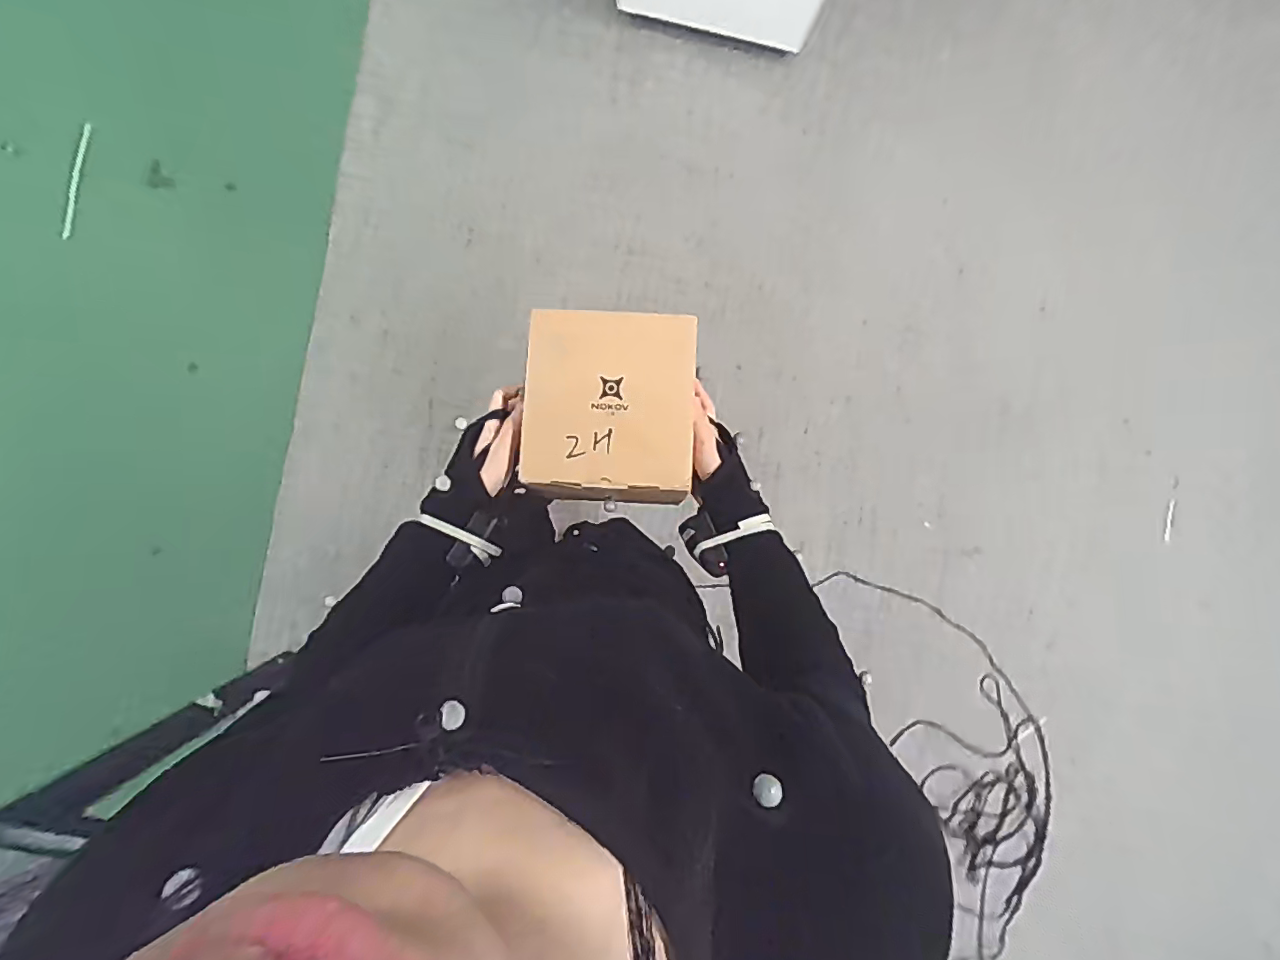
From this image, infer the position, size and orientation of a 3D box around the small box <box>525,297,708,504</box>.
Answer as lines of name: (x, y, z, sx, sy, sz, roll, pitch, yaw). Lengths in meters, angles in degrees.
small box: (-0.022, -0.075, 0.592, 0.168, 0.176, 0.179, 4, 81, 0)
